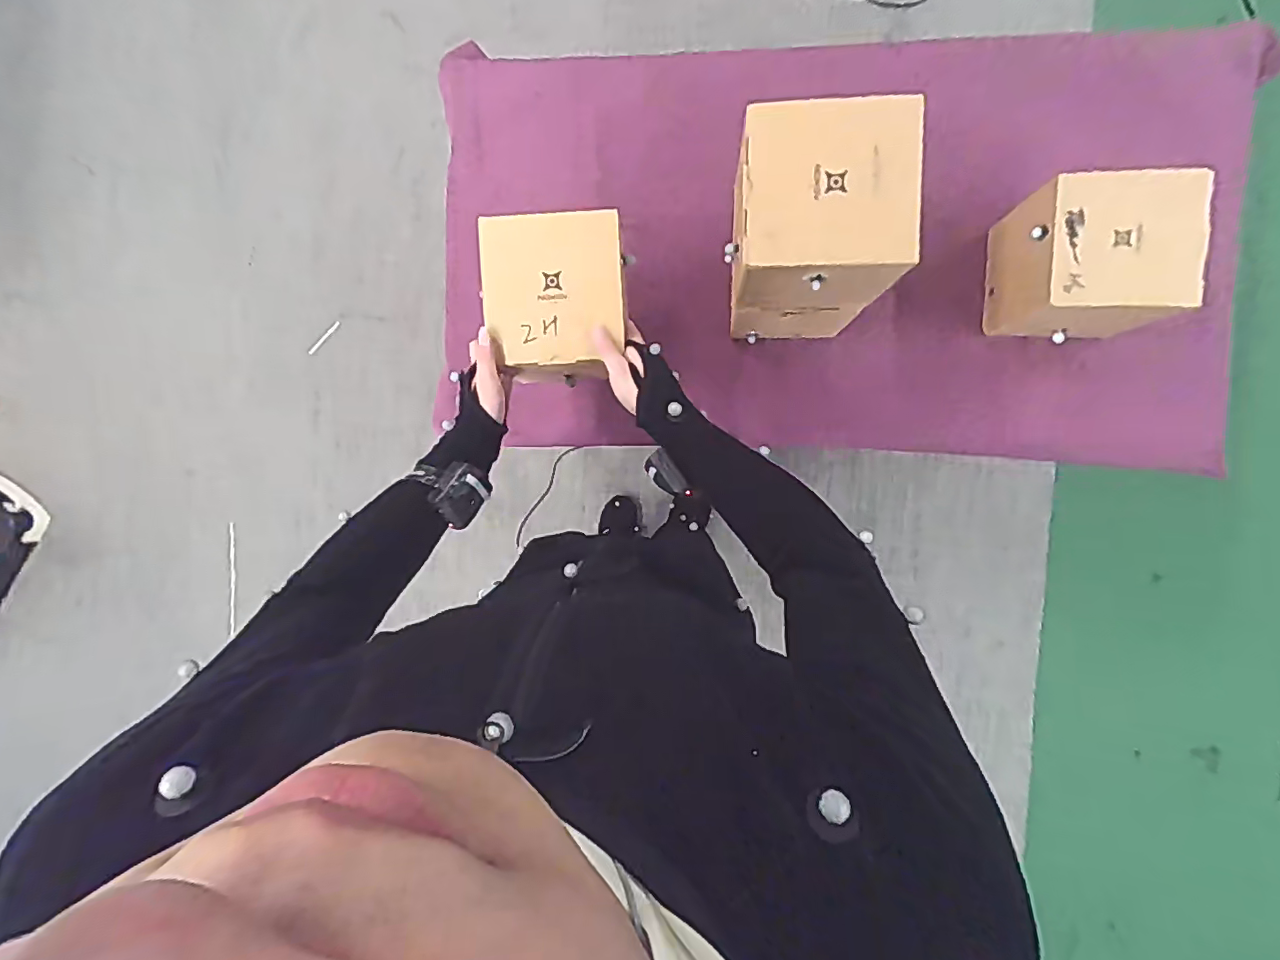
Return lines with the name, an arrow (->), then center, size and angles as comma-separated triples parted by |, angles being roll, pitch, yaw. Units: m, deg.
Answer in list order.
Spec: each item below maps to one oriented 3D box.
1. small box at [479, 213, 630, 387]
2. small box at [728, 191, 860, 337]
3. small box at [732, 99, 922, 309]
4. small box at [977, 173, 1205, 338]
small box -> -0.100, -0.222, 0.705 | 0.168, 0.176, 0.179 | -3, 94, 1
small box -> 0.217, -0.311, 0.788 | 0.168, 0.176, 0.179 | 1, 92, 6
small box -> 0.200, -0.301, 0.625 | 0.179, 0.176, 0.168 | 1, 93, 5
small box -> 0.605, -0.299, 0.747 | 0.179, 0.176, 0.168 | 2, 92, 6
